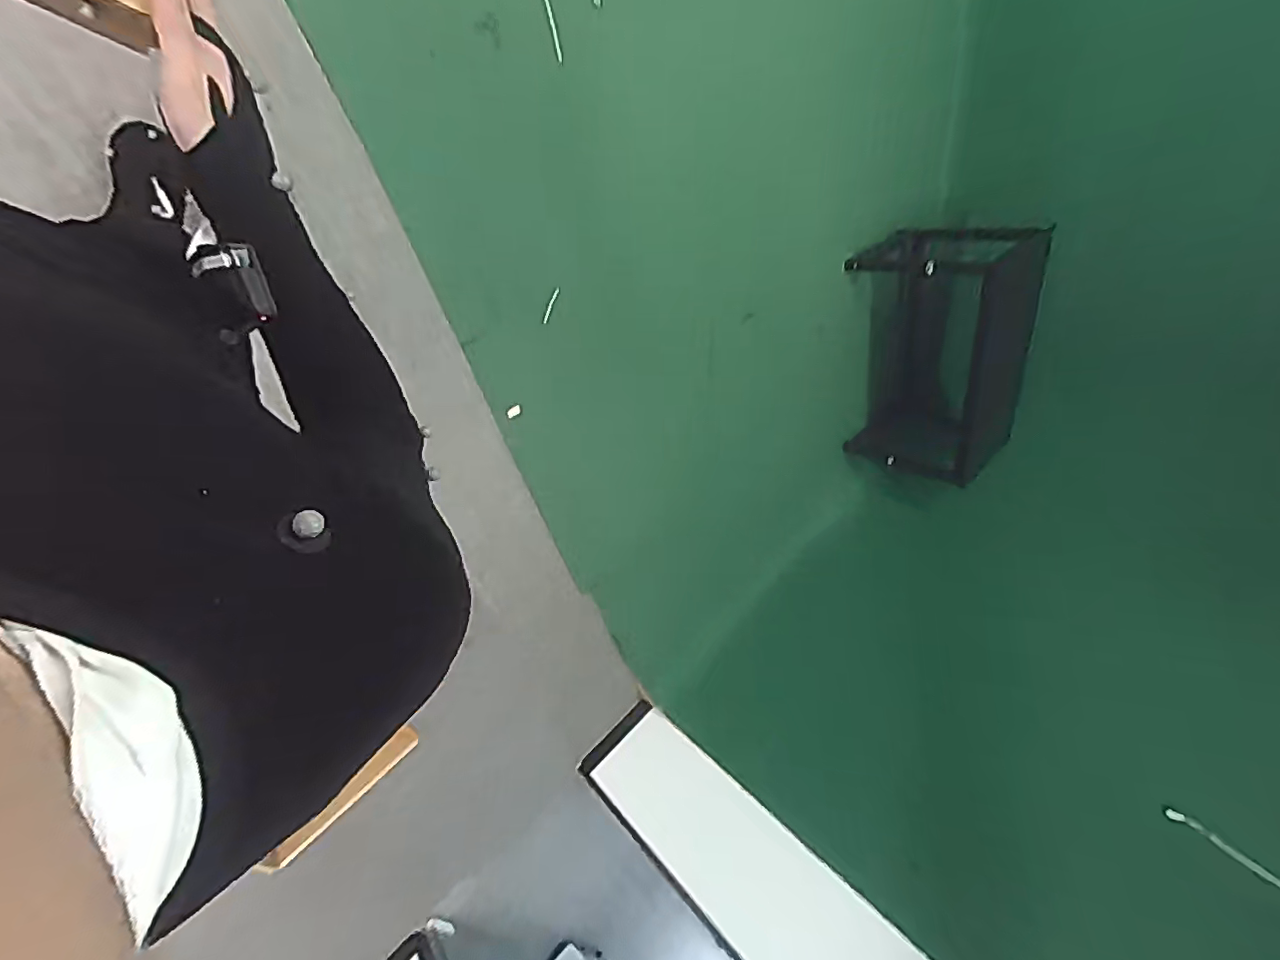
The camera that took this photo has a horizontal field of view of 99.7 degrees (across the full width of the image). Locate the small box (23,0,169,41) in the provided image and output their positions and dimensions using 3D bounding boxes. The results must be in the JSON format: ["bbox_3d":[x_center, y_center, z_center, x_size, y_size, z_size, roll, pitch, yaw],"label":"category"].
[{"bbox_3d":[-0.426,-0.429,0.351,0.179,0.176,0.168,0,111,-48],"label":"small box"}]
